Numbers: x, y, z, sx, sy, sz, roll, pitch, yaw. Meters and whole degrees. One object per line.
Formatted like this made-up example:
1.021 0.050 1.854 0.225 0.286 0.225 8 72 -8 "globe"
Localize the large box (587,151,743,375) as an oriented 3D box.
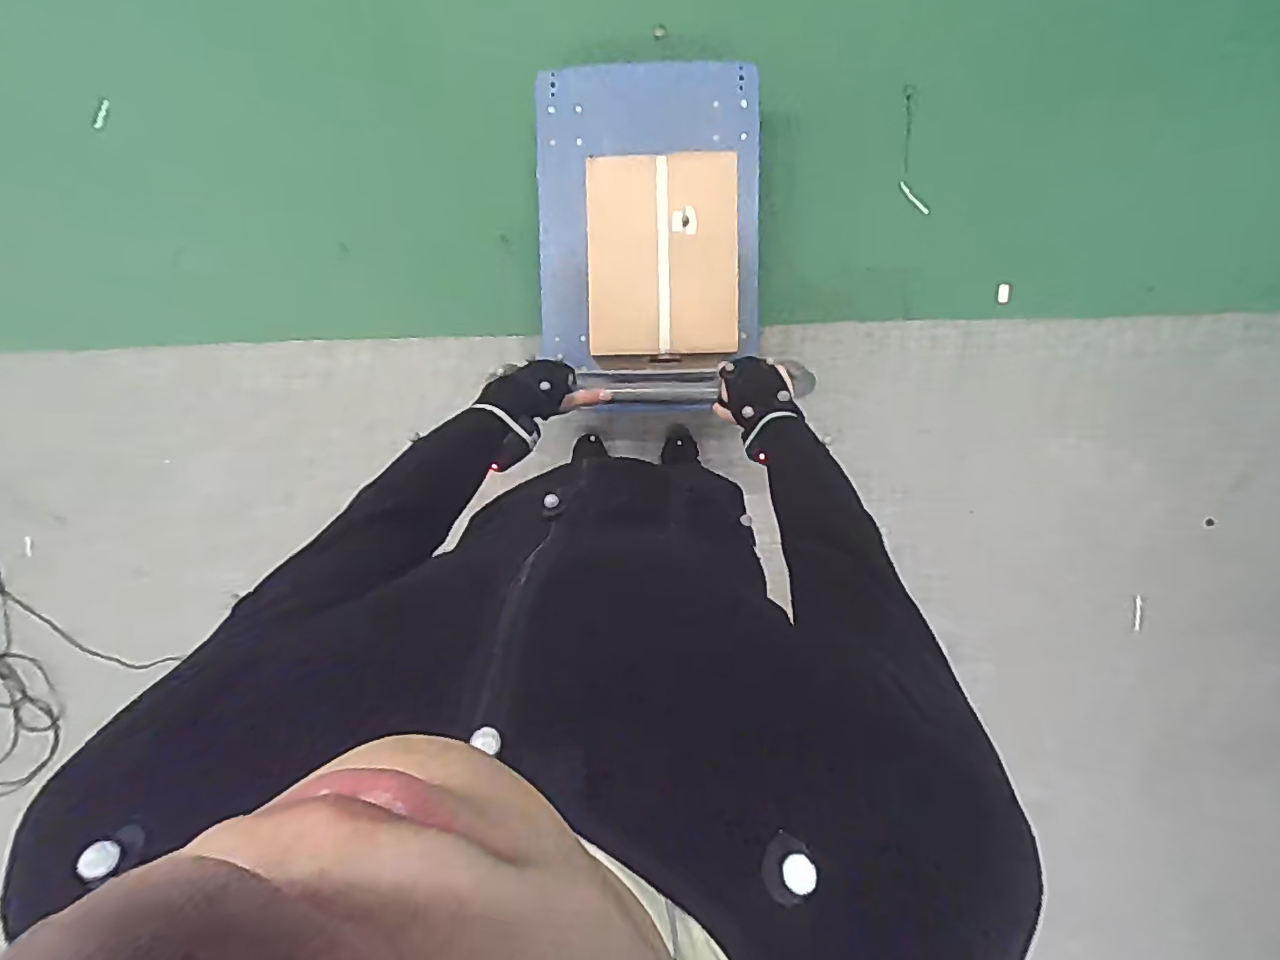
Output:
0.057 -0.468 1.253 0.320 0.320 0.408 -1 94 1 "large box"
